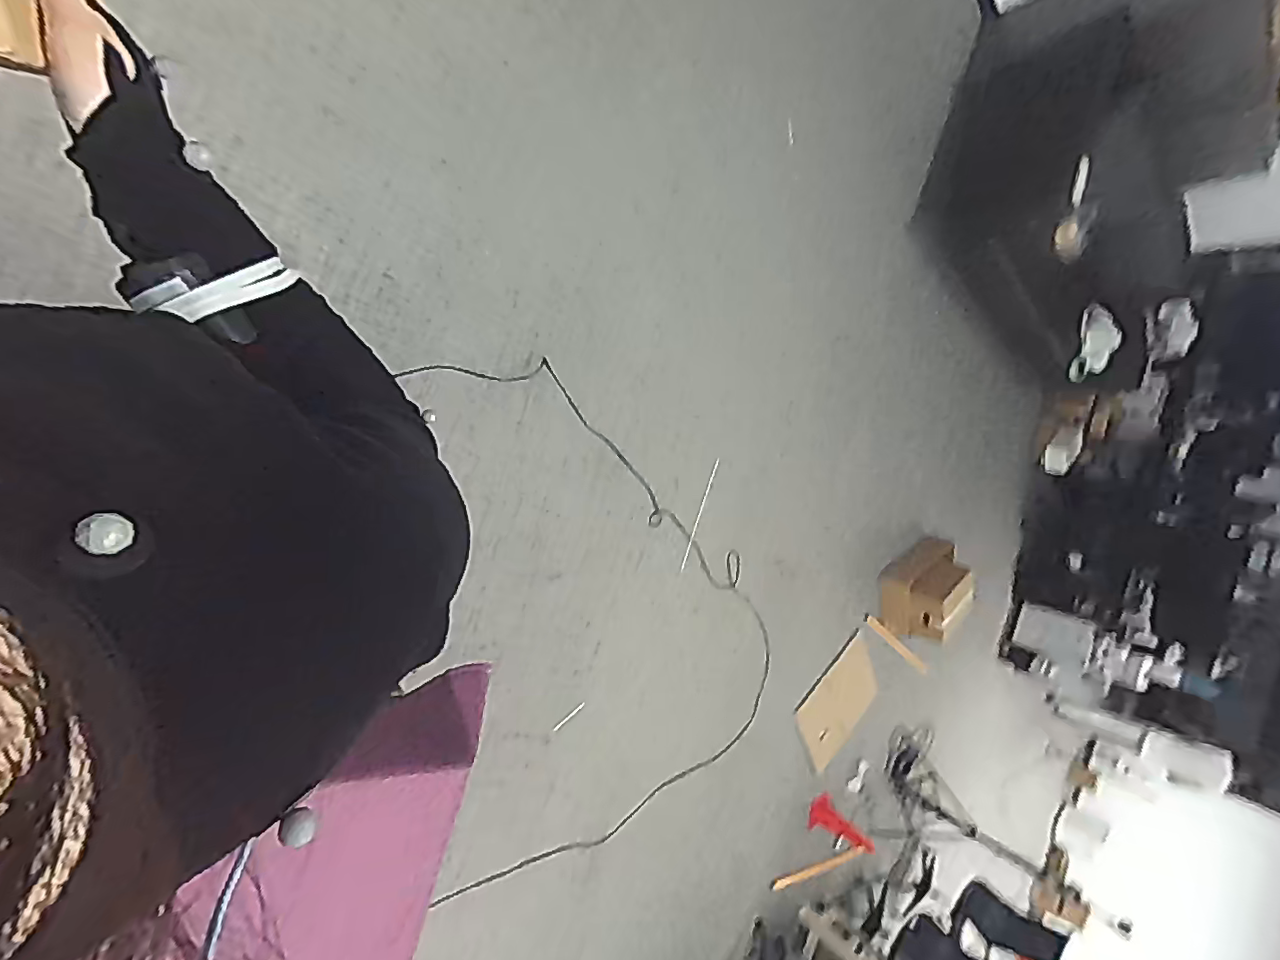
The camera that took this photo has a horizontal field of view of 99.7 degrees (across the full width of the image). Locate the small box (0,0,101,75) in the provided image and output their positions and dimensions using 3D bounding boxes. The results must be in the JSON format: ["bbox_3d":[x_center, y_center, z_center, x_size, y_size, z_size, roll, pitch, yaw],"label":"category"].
[{"bbox_3d":[-0.372,-0.299,0.229,0.168,0.176,0.179,-9,125,-33],"label":"small box"}]
